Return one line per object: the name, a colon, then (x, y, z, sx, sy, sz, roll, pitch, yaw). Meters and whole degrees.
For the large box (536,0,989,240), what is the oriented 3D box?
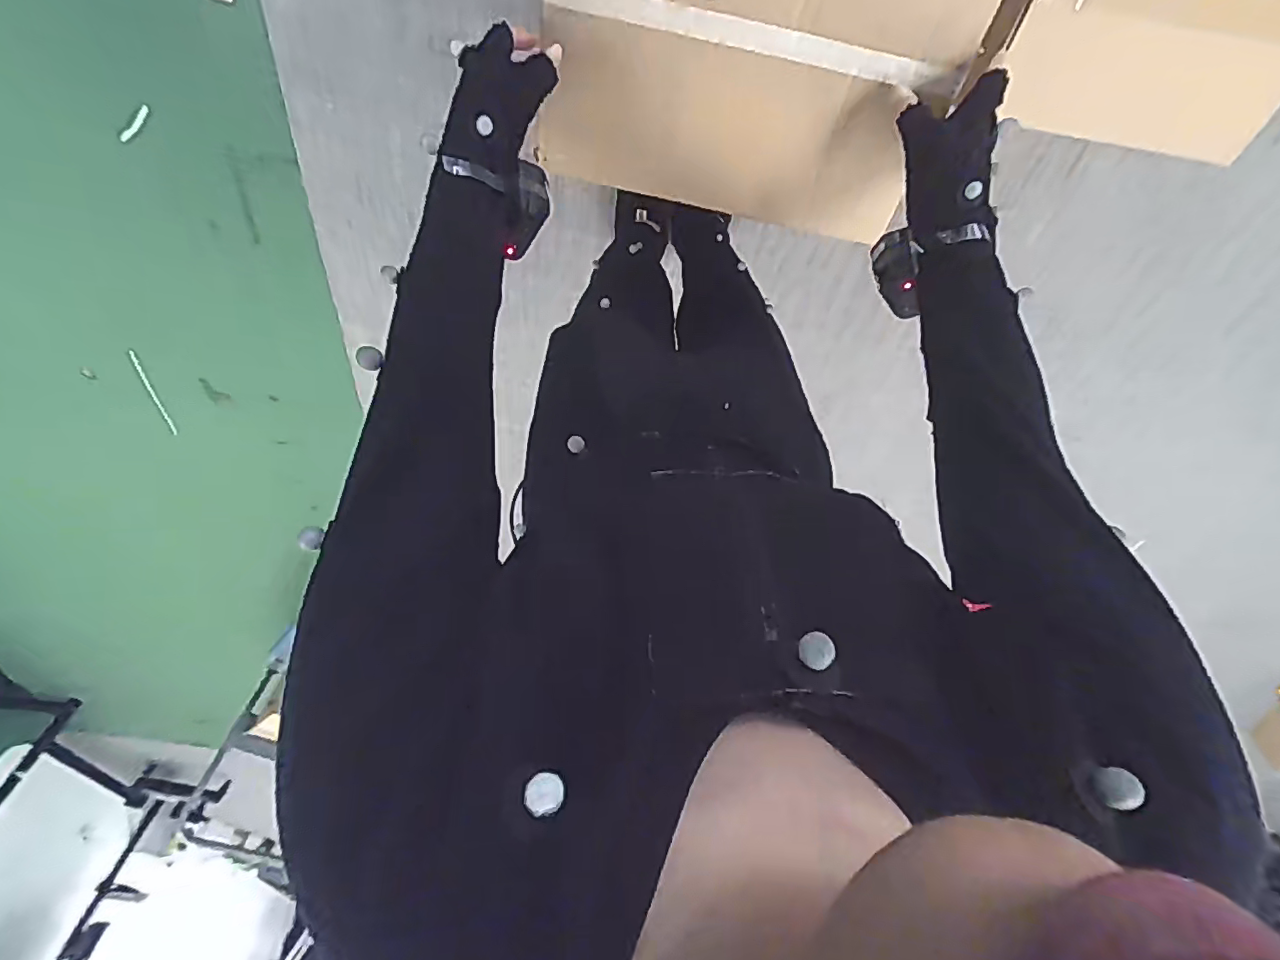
large box: (0.119, -0.522, 0.613, 0.408, 0.320, 0.320, 11, 136, -3)
